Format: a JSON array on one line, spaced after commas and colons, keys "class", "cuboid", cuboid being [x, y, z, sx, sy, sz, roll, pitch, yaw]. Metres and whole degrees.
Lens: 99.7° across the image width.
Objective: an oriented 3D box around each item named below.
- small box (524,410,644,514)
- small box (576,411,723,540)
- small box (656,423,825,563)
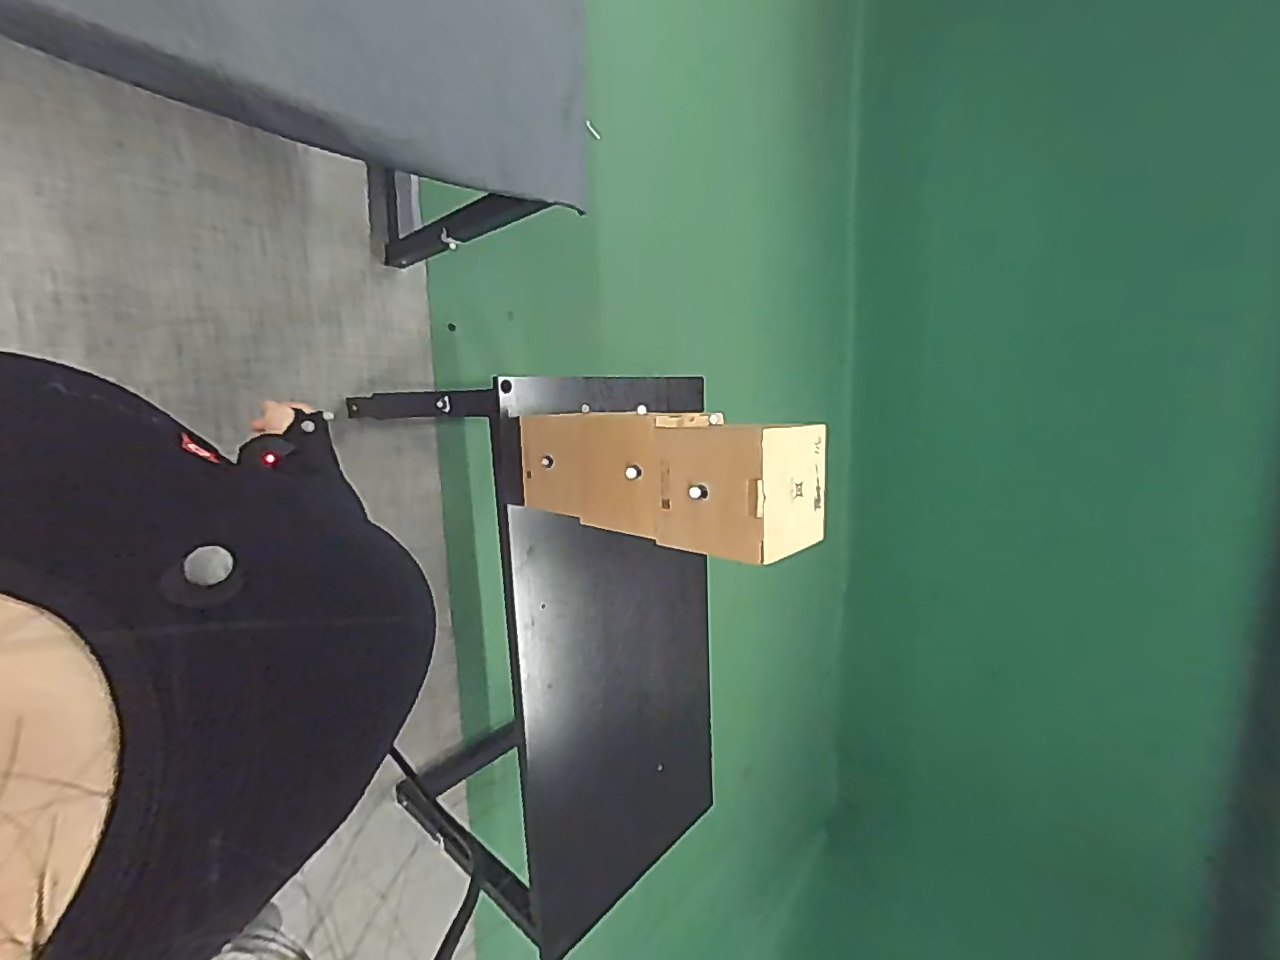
[{"class": "small box", "cuboid": [-0.096, -0.040, 0.967, 0.179, 0.176, 0.168, -11, 104, -47]}, {"class": "small box", "cuboid": [0.014, -0.018, 0.848, 0.168, 0.176, 0.179, -10, 103, -46]}, {"class": "small box", "cuboid": [0.135, 0.006, 0.740, 0.179, 0.176, 0.168, -8, 101, -46]}]
